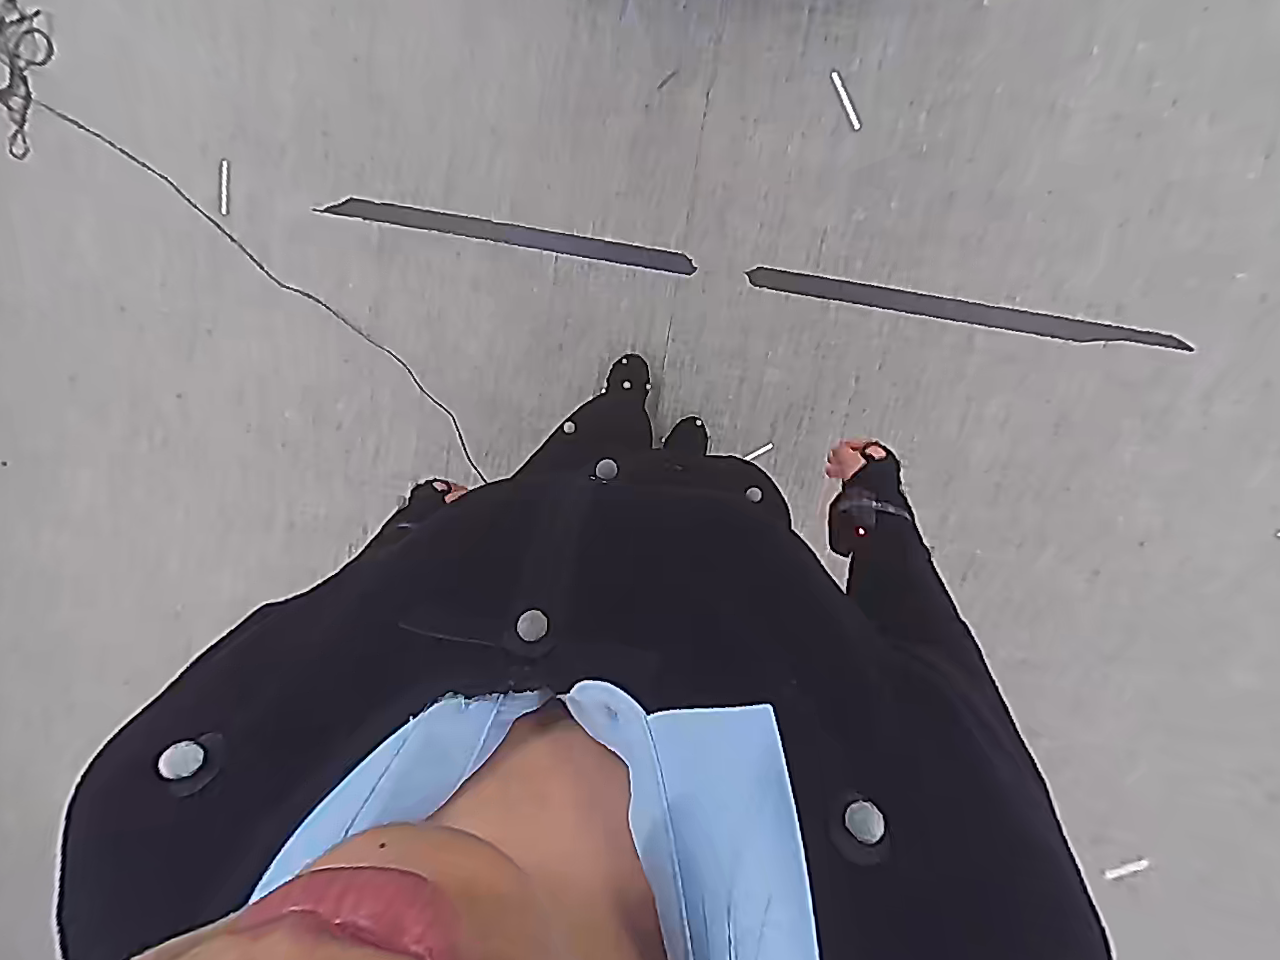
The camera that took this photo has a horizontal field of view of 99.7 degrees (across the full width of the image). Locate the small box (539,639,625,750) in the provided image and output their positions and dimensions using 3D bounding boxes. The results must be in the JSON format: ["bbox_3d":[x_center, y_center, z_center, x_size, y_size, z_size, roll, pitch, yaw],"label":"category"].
[{"bbox_3d":[-0.139,0.527,1.348,0.168,0.176,0.179,11,101,4],"label":"small box"}]
